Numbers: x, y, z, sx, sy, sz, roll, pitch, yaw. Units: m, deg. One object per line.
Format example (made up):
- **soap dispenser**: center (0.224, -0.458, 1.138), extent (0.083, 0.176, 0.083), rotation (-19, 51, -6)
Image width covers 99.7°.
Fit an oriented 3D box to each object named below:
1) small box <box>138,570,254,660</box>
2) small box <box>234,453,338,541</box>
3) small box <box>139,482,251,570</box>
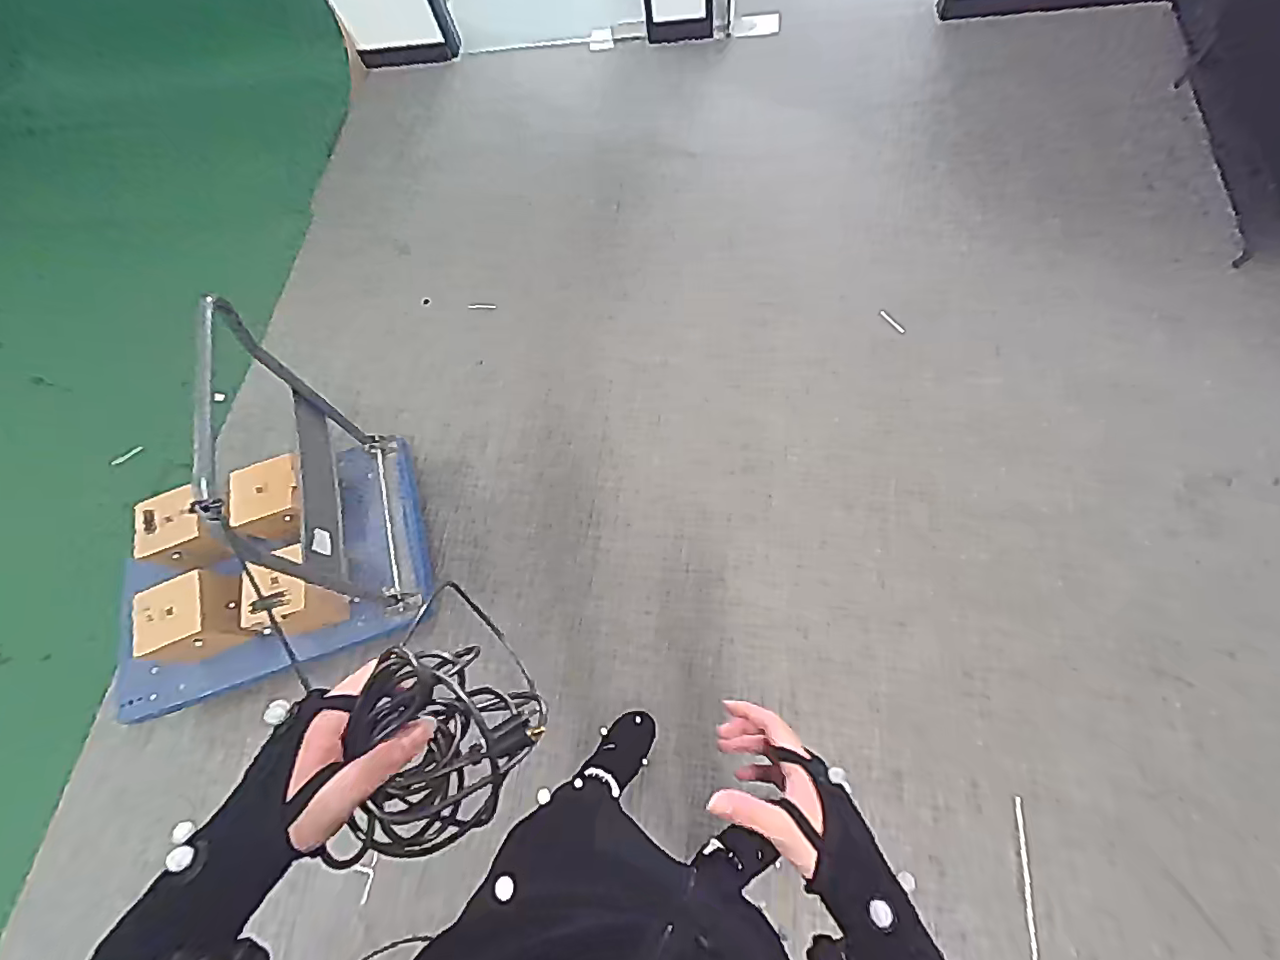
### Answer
- **small box**: center (-1.136, 0.353, 1.396), extent (0.179, 0.176, 0.168), rotation (-23, 66, -1)
- **small box**: center (-0.972, 0.054, 1.492), extent (0.179, 0.176, 0.168), rotation (-18, 67, 0)
- **small box**: center (-1.224, 0.134, 1.496), extent (0.179, 0.176, 0.168), rotation (-21, 68, -1)
